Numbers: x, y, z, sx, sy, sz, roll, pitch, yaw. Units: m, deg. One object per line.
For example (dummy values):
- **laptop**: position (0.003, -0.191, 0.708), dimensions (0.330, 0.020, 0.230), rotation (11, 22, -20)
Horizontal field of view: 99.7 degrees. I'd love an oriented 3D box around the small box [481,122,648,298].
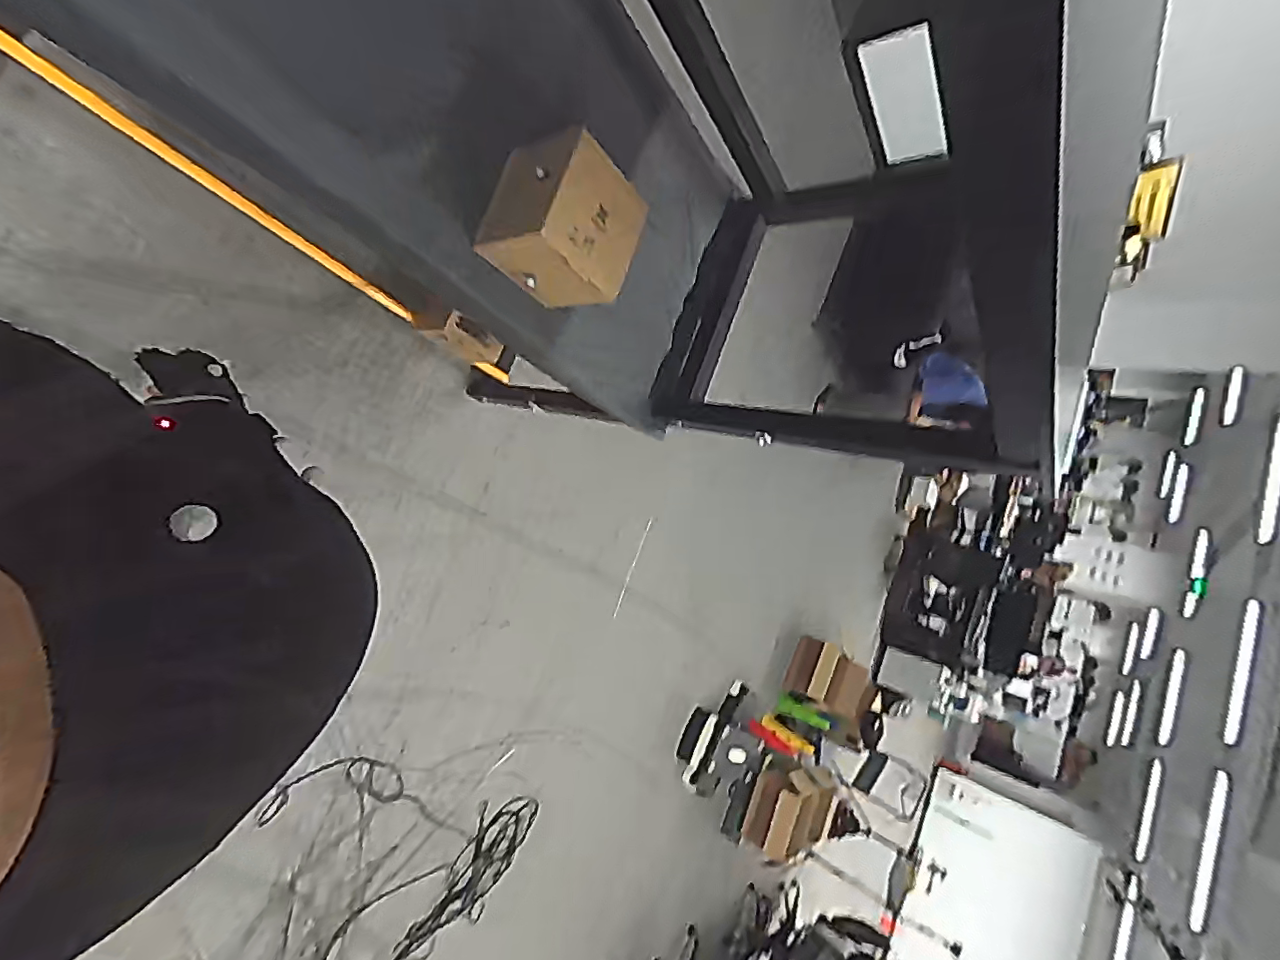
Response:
- **small box**: position (-0.119, -0.408, 0.850), dimensions (0.168, 0.176, 0.179), rotation (29, 77, -49)
